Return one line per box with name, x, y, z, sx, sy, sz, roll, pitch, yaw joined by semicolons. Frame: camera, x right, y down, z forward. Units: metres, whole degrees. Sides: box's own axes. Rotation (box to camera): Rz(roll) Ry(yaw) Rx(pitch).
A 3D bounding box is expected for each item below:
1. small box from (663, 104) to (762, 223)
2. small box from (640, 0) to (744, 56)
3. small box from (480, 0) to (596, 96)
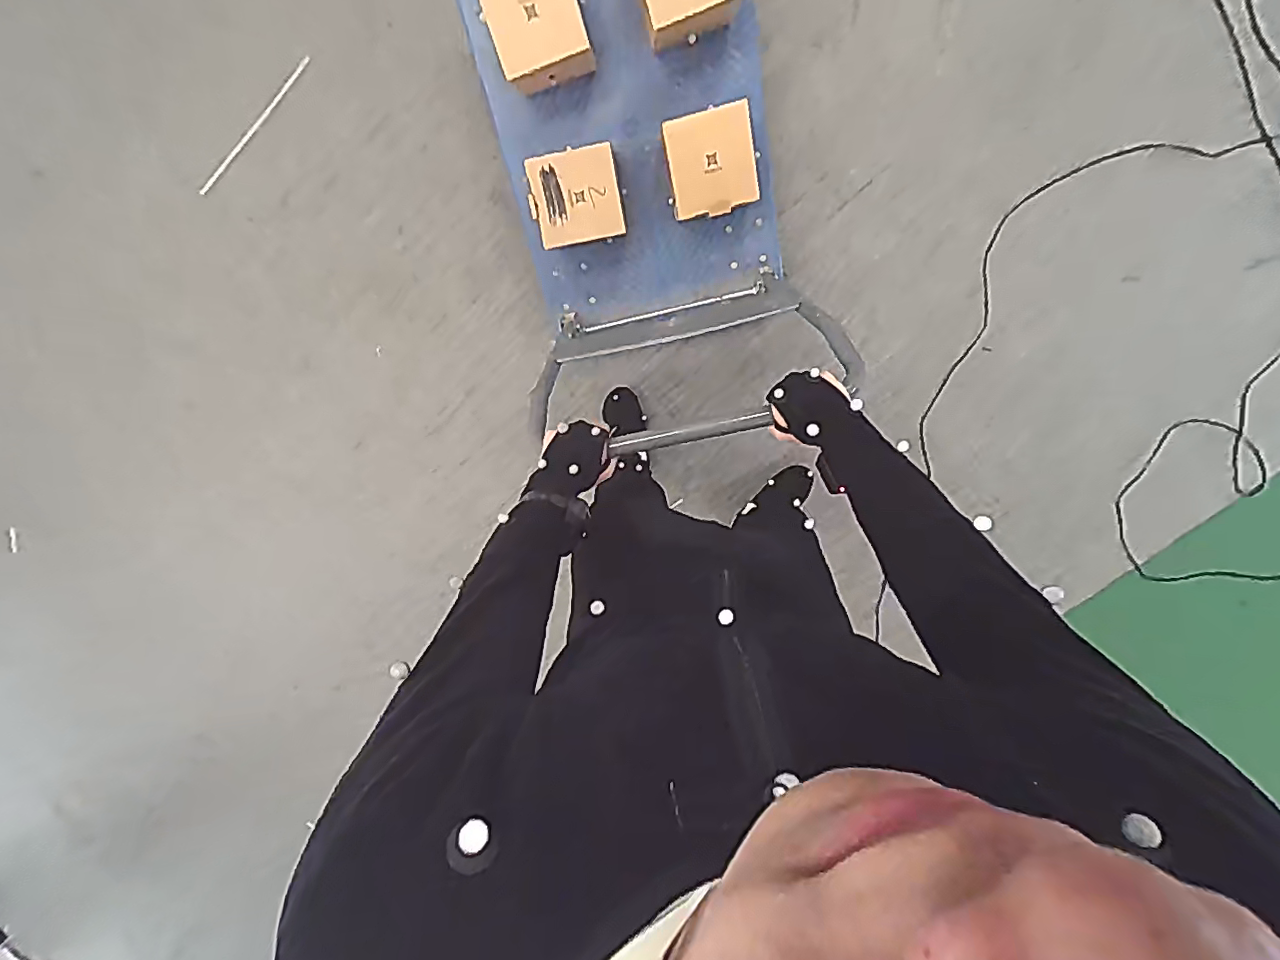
small box;0.146;-0.647;1.126;0.168;0.176;0.179;-12;116;7
small box;0.080;-0.925;0.990;0.168;0.176;0.179;-16;116;9
small box;-0.189;-0.859;1.025;0.168;0.176;0.179;-16;115;7
